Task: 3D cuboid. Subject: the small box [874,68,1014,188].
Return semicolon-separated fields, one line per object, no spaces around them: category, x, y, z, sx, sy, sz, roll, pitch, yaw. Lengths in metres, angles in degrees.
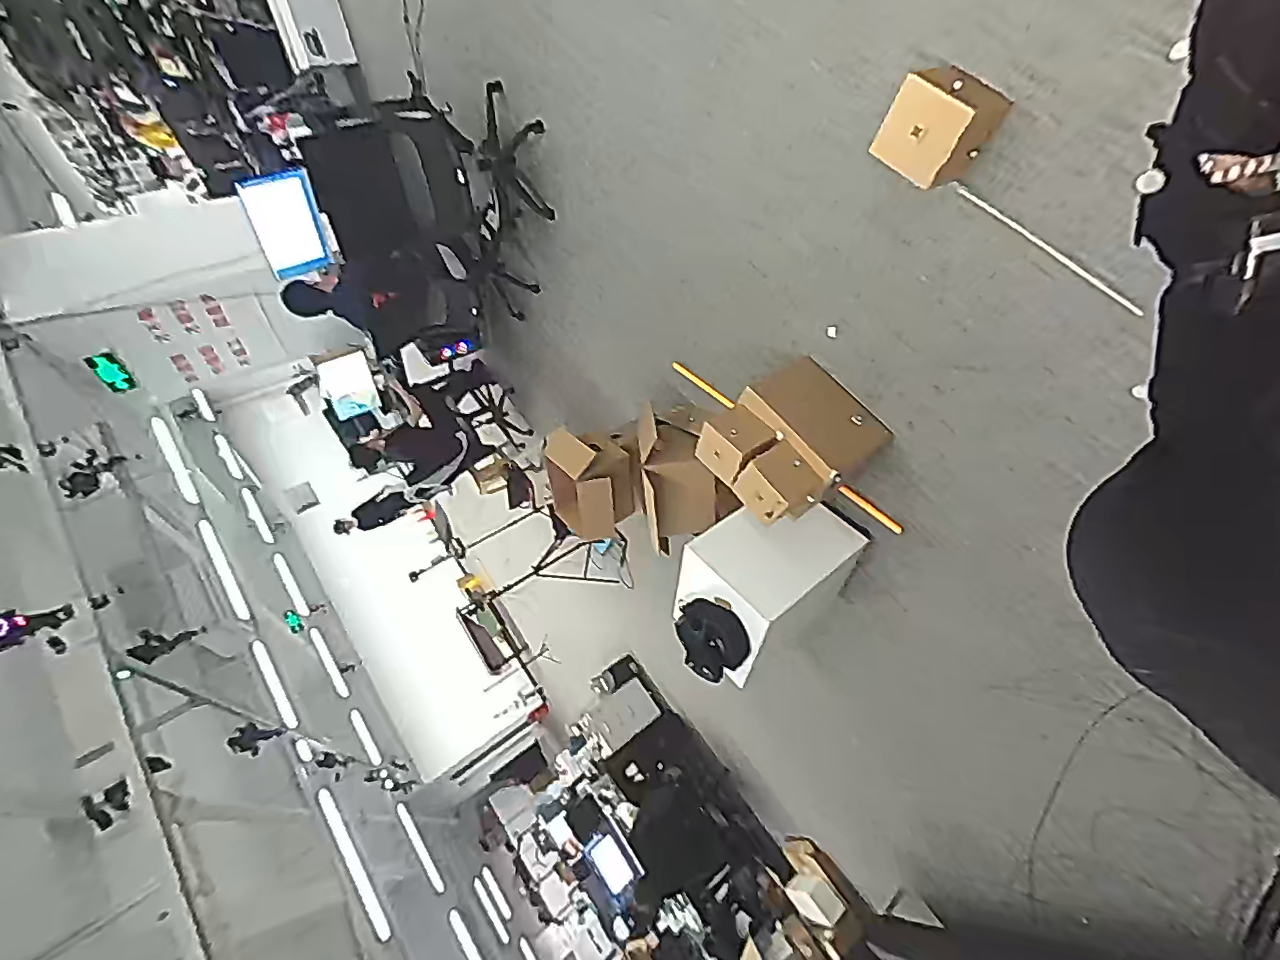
small box;0.672;-0.788;1.204;0.179;0.176;0.168;49;151;20
